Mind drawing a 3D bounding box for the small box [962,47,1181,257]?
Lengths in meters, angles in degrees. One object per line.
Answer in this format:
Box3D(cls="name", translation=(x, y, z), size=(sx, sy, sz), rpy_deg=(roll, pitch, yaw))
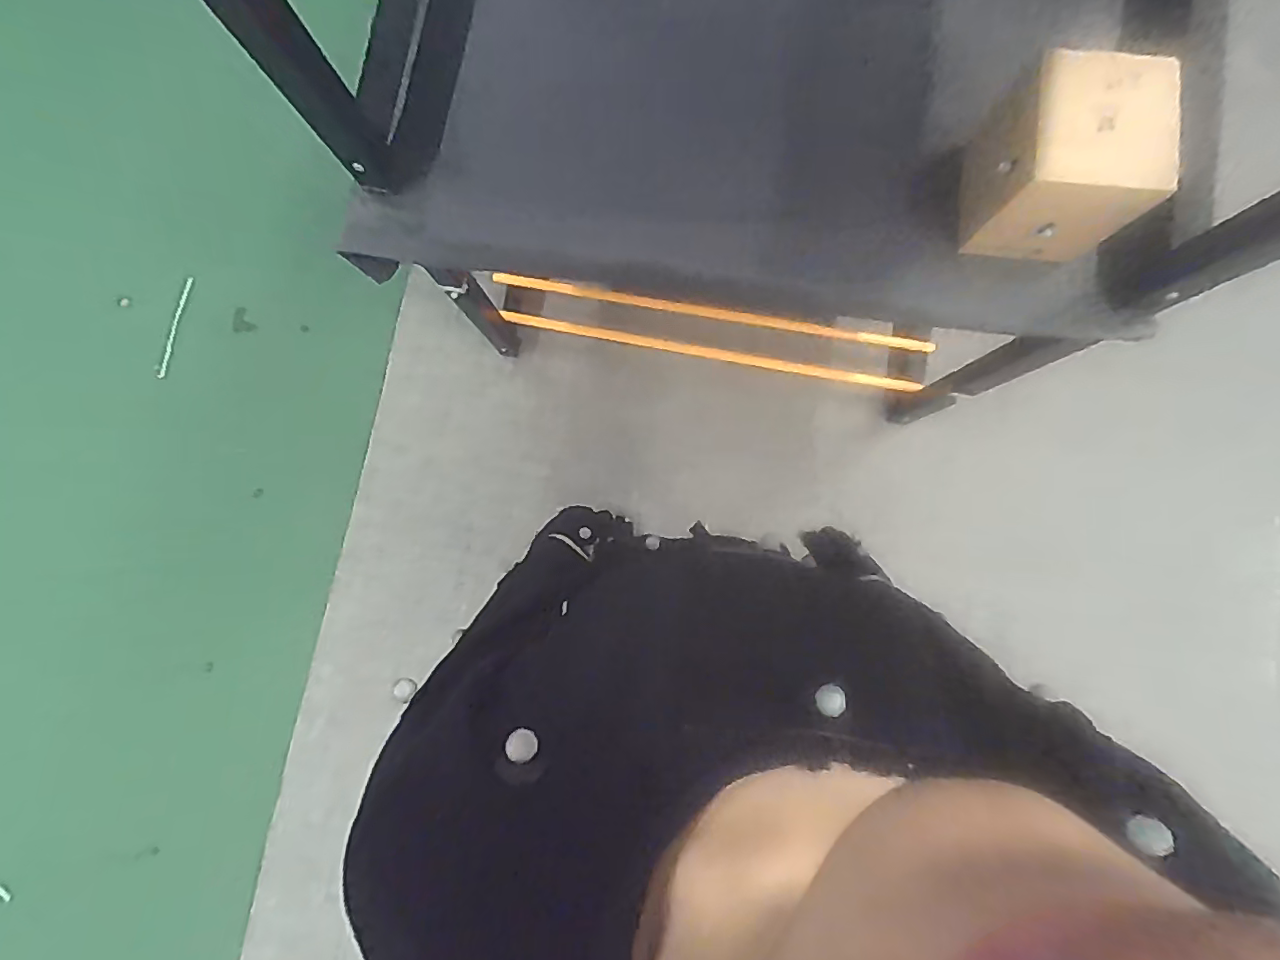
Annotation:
Box3D(cls="small box", translation=(0.562, -0.425, 0.726), size=(0.168, 0.176, 0.179), rpy_deg=(6, 84, 2))
